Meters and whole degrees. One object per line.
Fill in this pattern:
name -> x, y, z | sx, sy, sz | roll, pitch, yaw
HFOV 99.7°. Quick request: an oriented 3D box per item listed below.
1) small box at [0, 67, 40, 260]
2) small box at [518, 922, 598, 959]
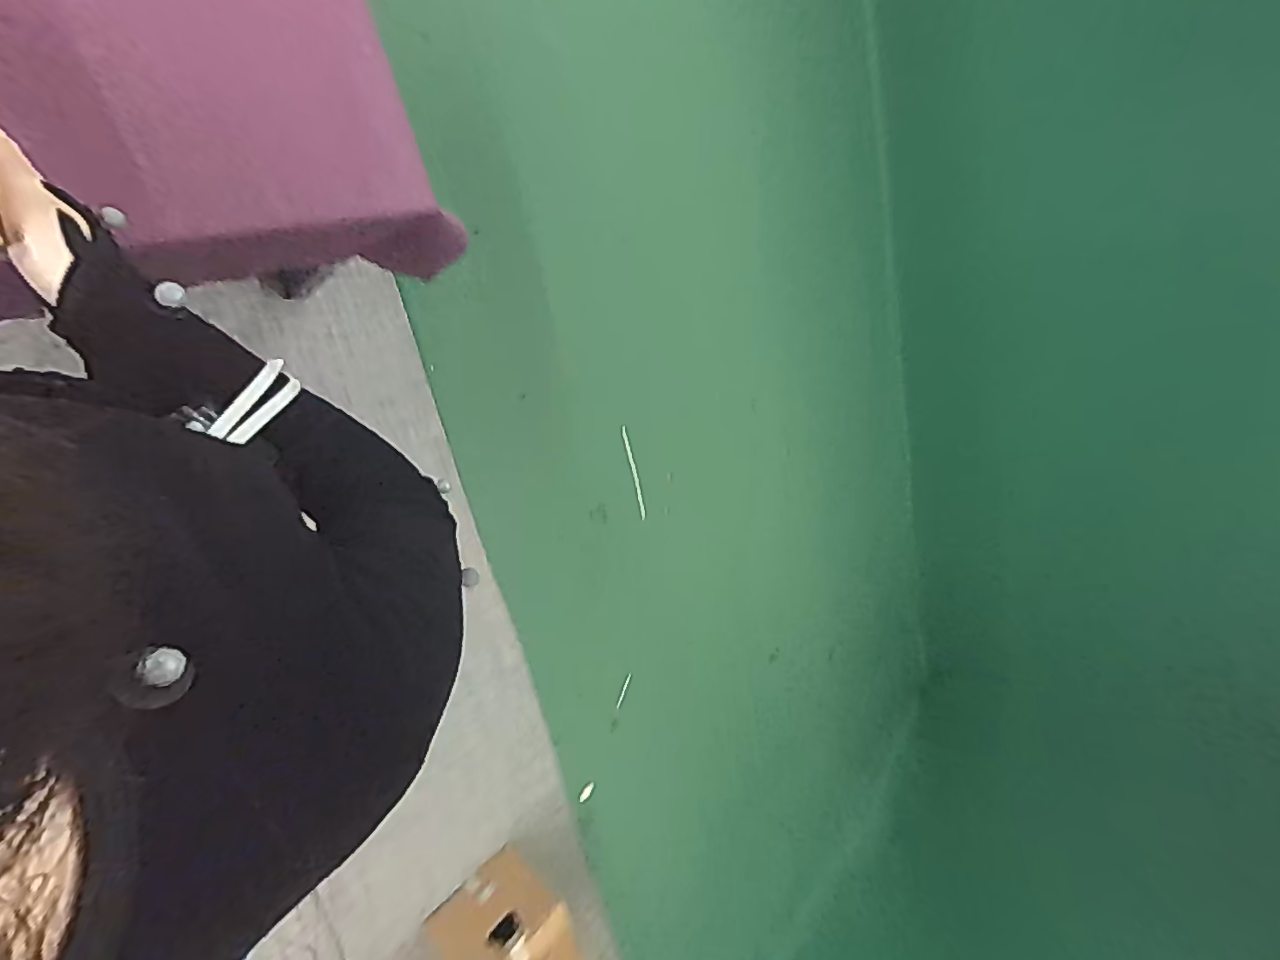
small box -> -0.438, -0.210, 0.262 | 0.168, 0.176, 0.179 | -12, 113, -41
small box -> -0.221, 1.382, 1.478 | 0.168, 0.176, 0.179 | -16, 104, -43
